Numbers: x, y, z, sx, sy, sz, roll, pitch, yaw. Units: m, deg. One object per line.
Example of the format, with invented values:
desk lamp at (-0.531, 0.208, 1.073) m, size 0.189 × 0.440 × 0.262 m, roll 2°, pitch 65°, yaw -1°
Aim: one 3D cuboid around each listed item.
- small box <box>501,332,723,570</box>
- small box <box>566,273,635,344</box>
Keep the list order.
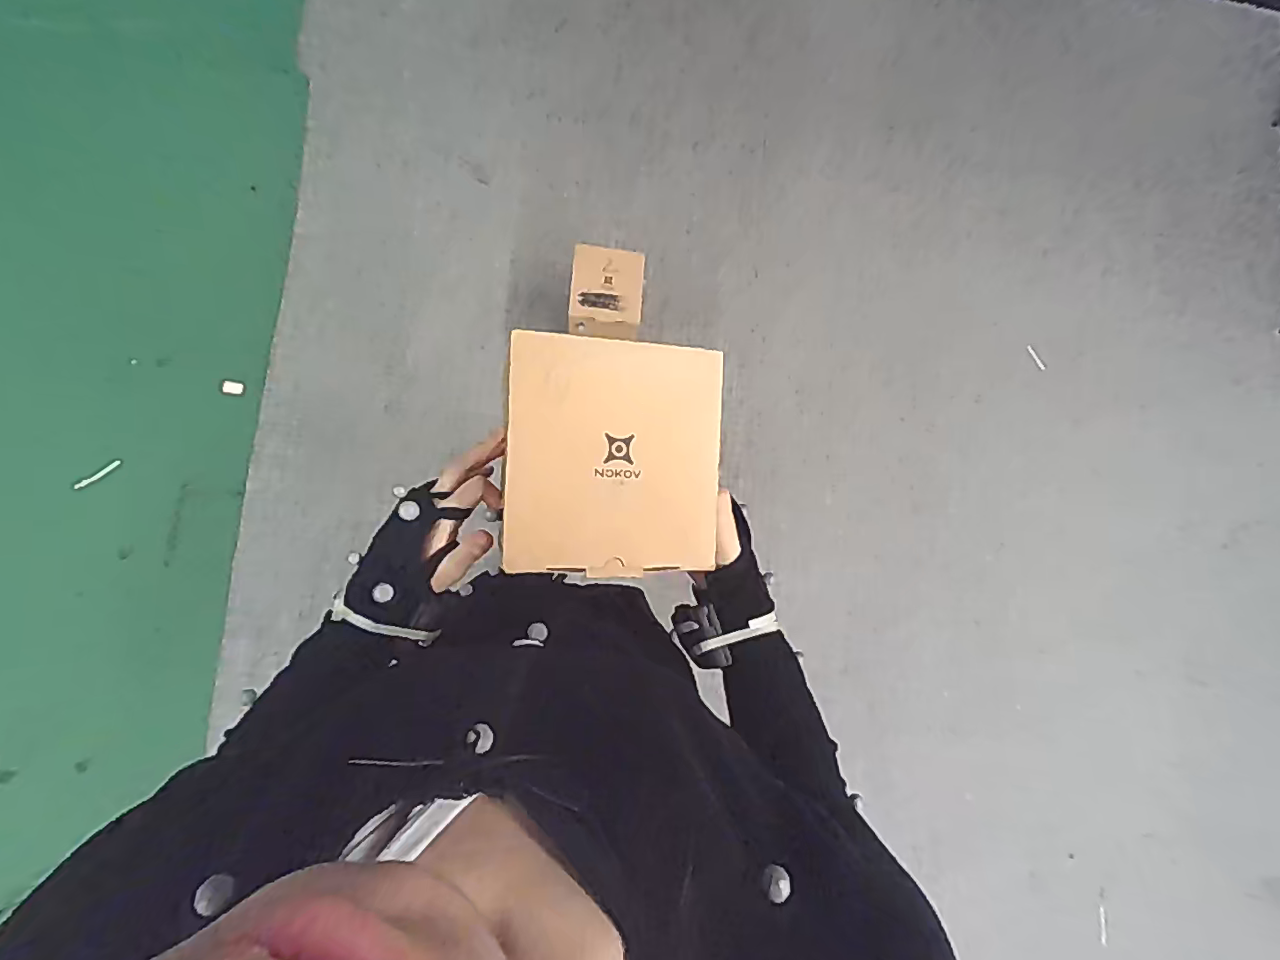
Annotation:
small box at (-0.037, -0.020, 0.489) m, size 0.168 × 0.176 × 0.179 m, roll 1°, pitch 92°, yaw -16°
small box at (-0.113, -0.436, 1.482) m, size 0.168 × 0.176 × 0.179 m, roll 6°, pitch 85°, yaw -7°
